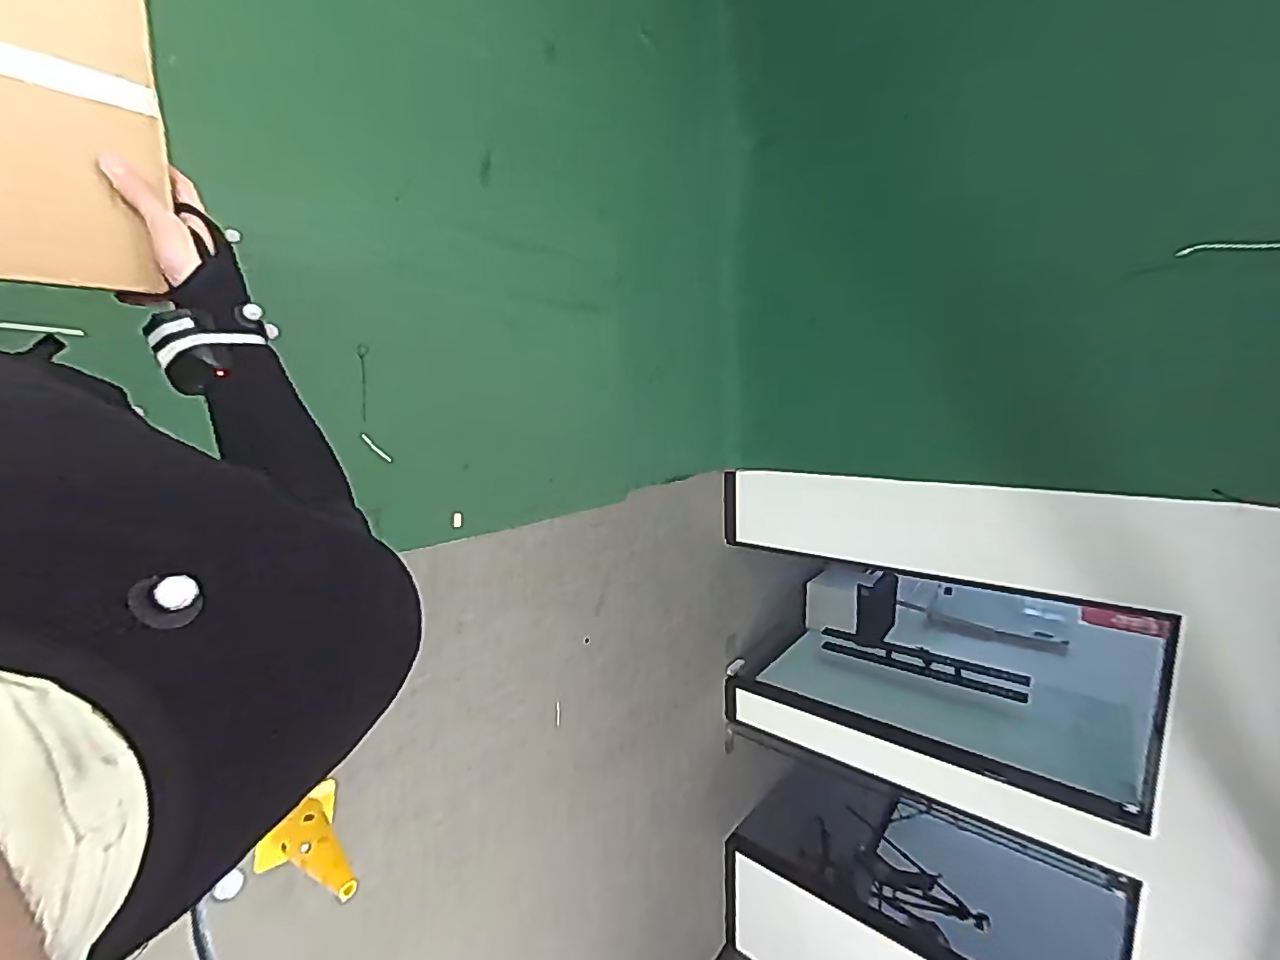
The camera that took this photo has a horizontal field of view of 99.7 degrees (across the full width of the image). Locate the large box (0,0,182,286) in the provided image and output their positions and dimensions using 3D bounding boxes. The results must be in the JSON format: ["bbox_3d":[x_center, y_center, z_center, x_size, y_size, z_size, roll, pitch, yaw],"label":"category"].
[{"bbox_3d":[-0.666,-0.332,0.415,0.408,0.320,0.320,-14,115,-49],"label":"large box"}]
